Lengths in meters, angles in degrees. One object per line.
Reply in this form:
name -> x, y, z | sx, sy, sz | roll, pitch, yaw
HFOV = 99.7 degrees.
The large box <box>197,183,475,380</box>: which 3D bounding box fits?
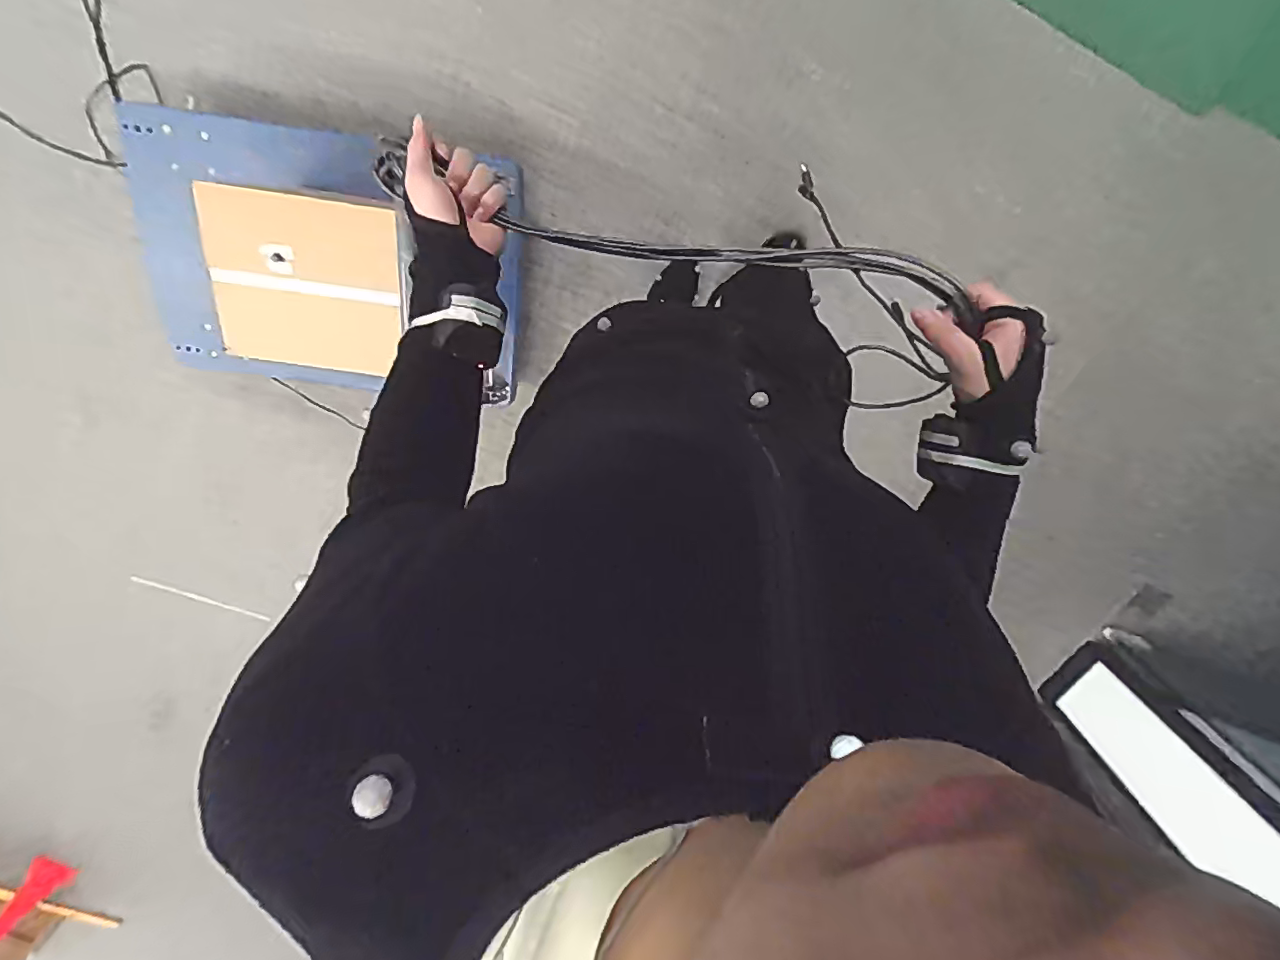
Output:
large box -> -0.595, -0.425, 1.151 | 0.408, 0.320, 0.320 | 8, 115, -2
